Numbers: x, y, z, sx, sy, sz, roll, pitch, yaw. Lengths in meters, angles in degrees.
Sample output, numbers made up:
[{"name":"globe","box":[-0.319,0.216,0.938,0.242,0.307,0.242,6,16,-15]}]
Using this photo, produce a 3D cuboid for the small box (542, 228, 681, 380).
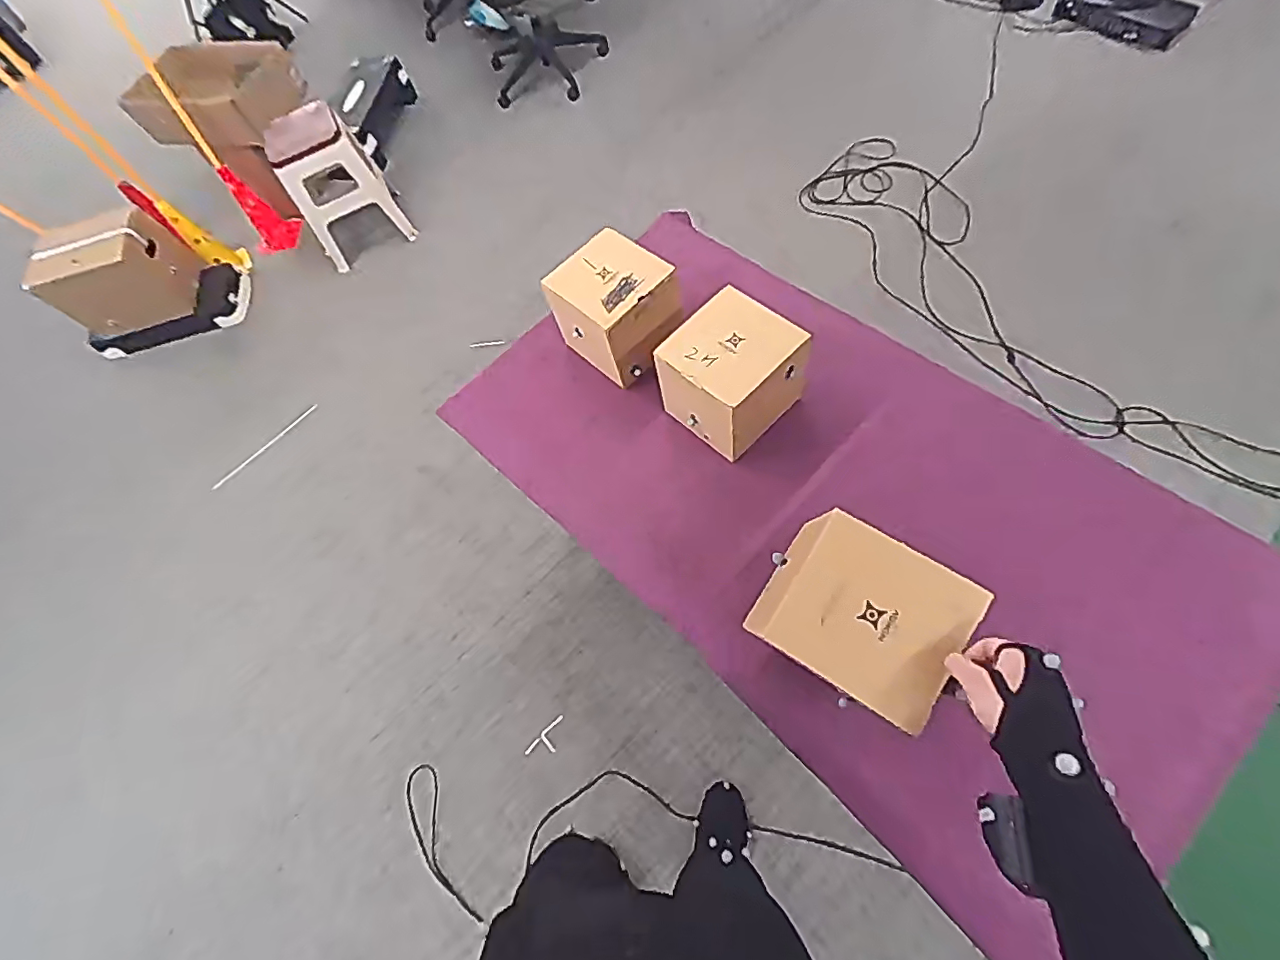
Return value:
[{"name":"small box","box":[-0.041,-0.307,0.977,0.168,0.176,0.179,-44,65,-11]}]

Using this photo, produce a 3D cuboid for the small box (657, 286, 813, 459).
[{"name":"small box","box":[0.150,-0.169,0.879,0.179,0.176,0.168,-43,65,-11]}]

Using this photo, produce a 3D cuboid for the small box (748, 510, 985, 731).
[{"name":"small box","box":[0.249,0.156,0.642,0.179,0.176,0.168,32,82,10]}]
